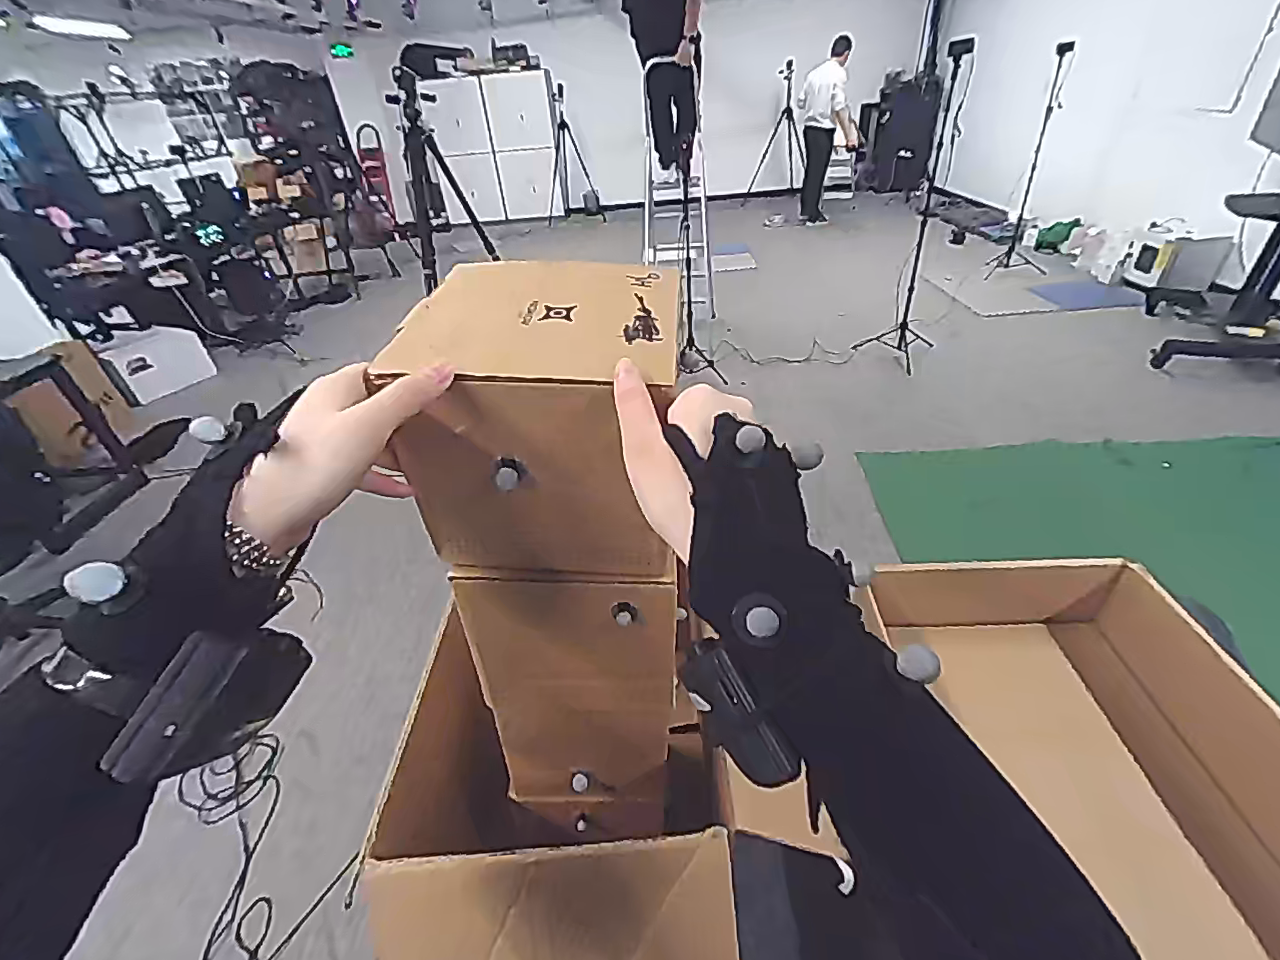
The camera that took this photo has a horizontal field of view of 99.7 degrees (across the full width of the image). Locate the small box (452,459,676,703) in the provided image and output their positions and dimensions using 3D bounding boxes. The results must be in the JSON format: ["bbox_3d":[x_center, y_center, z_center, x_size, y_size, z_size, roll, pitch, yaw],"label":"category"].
[{"bbox_3d":[-0.056,0.094,0.521,0.179,0.176,0.168,1,35,1],"label":"small box"}]
